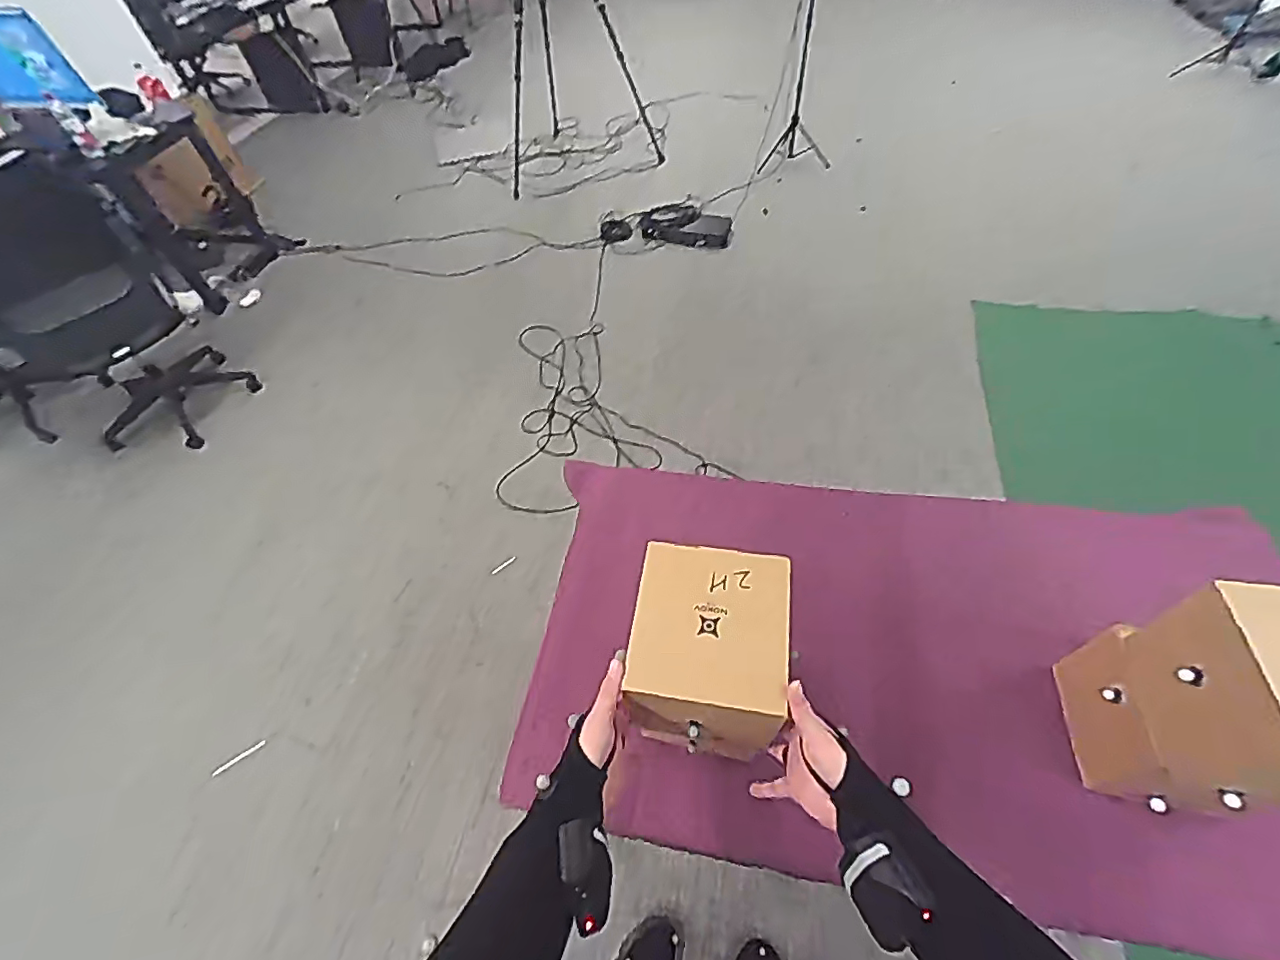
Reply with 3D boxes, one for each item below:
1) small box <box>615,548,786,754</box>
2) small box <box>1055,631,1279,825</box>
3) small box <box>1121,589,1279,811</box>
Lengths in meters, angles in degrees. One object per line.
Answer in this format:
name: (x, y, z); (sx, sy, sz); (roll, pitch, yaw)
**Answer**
small box: (0.076, 0.206, 0.641); (0.168, 0.176, 0.179); (6, 53, 10)
small box: (0.685, 0.324, 0.705); (0.168, 0.176, 0.179); (7, 53, 12)
small box: (0.667, 0.238, 0.565); (0.168, 0.176, 0.179); (5, 51, 10)
